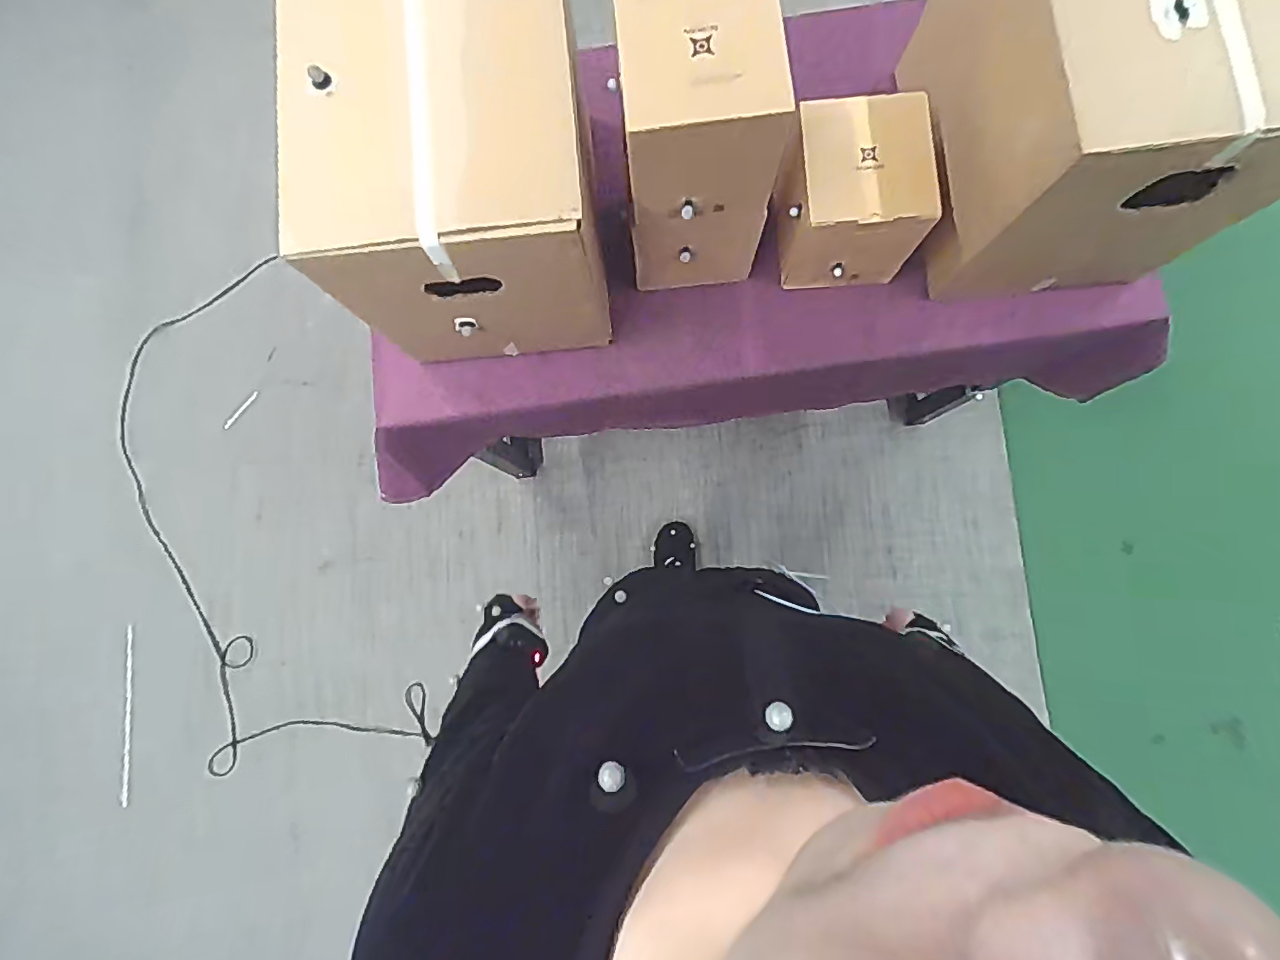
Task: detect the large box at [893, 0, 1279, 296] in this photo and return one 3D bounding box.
[{"bbox_3d":[0.573,-0.507,0.708,0.320,0.320,0.408,-5,83,1],"label":"large box"}]
